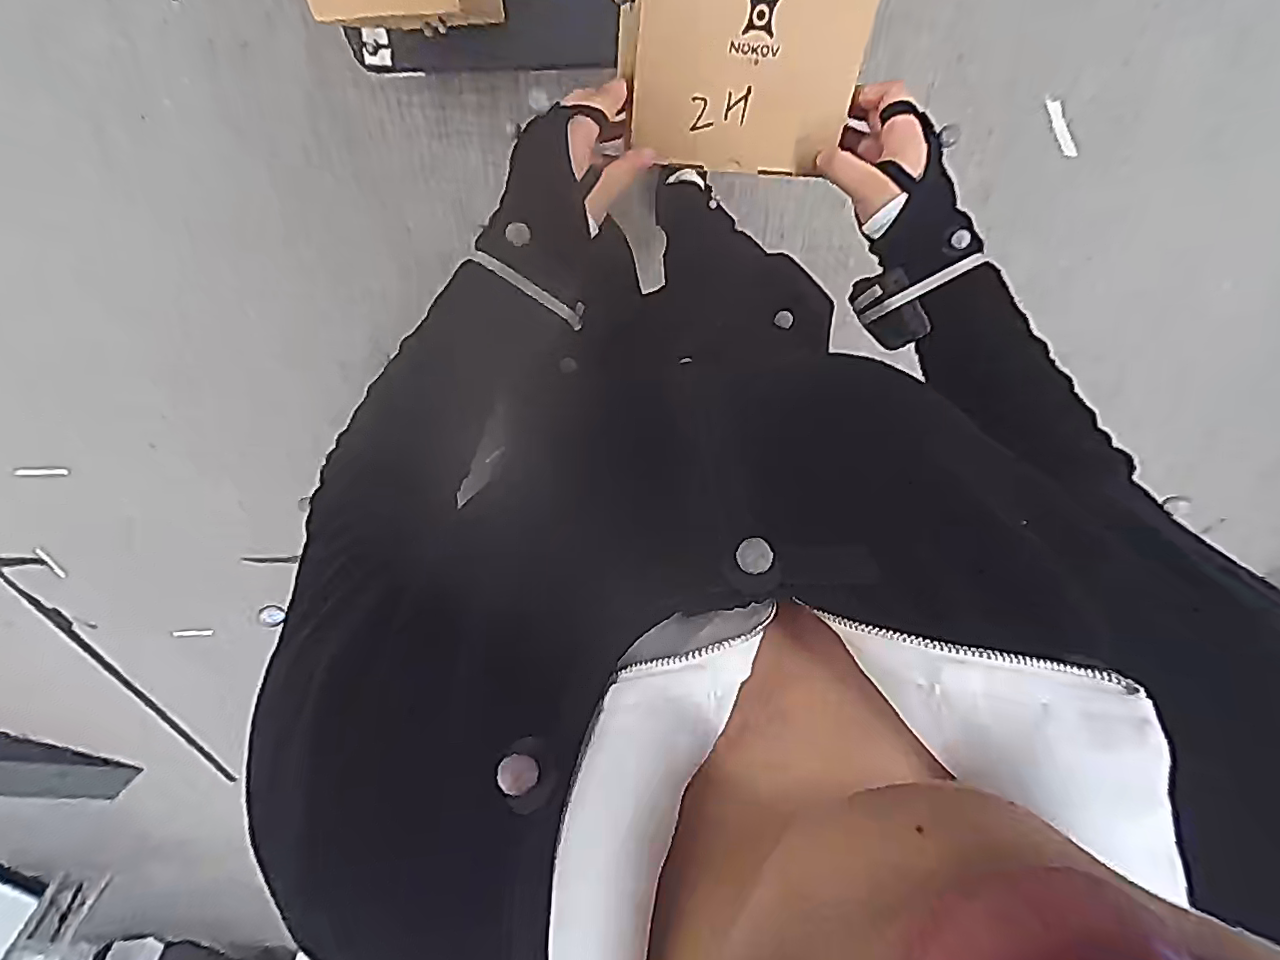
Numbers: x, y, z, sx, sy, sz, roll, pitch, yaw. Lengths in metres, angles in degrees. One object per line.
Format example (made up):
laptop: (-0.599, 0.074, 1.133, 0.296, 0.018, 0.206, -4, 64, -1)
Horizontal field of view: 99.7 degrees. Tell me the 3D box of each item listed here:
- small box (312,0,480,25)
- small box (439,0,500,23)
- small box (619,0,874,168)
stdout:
small box: (-0.299, -0.658, 0.645, 0.179, 0.176, 0.168, -5, 128, 0)
small box: (-0.307, -0.762, 0.771, 0.179, 0.176, 0.168, -4, 129, 0)
small box: (0.072, -0.374, 0.435, 0.168, 0.176, 0.179, 0, 132, -7)
